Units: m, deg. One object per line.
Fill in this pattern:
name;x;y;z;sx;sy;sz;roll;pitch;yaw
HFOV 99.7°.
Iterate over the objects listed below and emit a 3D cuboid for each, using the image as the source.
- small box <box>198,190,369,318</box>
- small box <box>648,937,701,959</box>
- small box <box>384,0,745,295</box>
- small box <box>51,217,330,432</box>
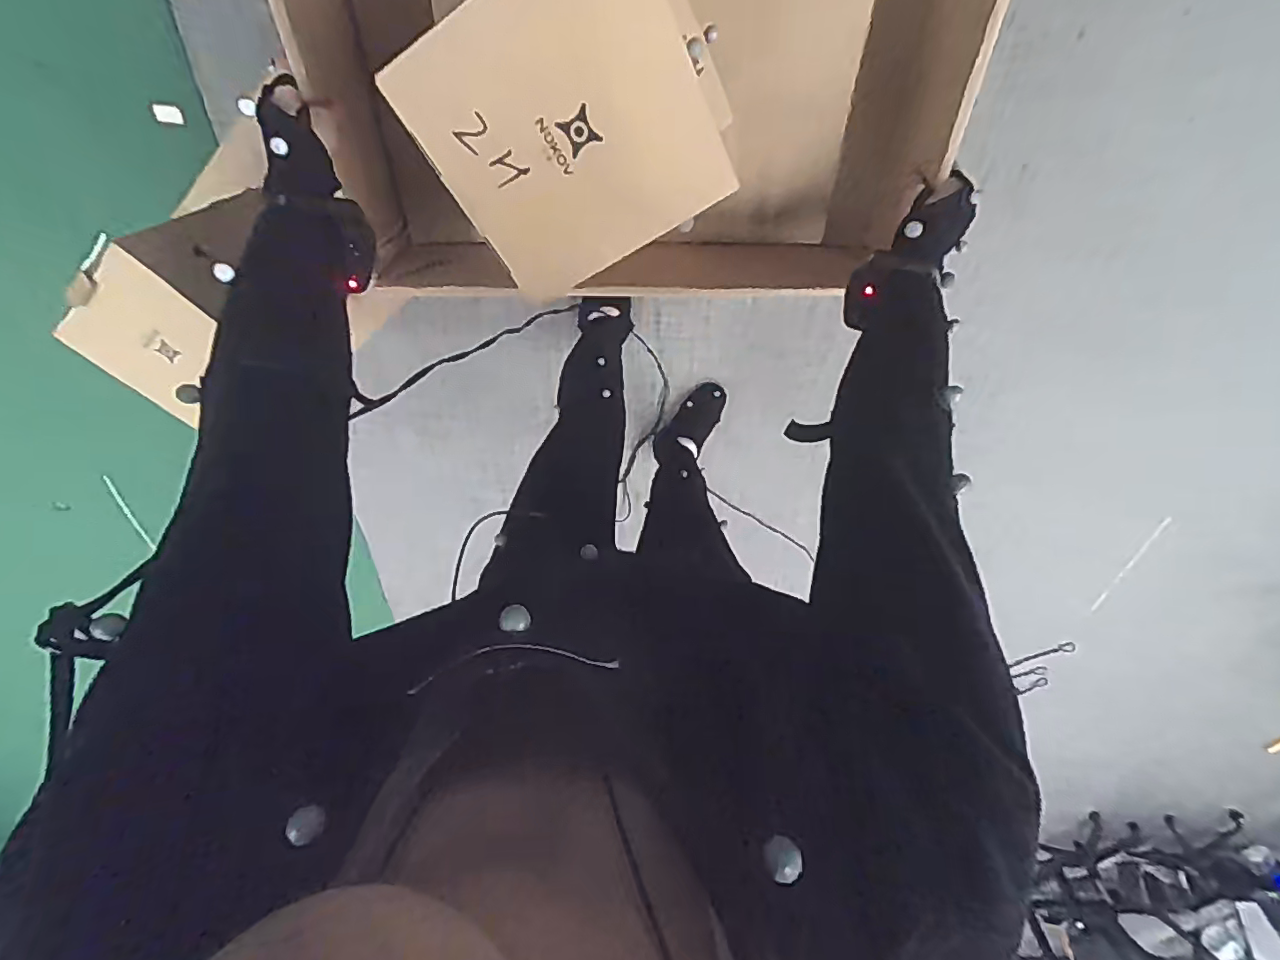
small box;-0.550;-0.302;0.803;0.168;0.176;0.179;-29;123;20
small box;0.115;1.660;1.806;0.168;0.176;0.179;4;127;-4
small box;-0.044;-0.278;0.403;0.179;0.176;0.168;-23;126;17
small box;-0.540;-0.200;0.676;0.168;0.176;0.179;-31;122;22
